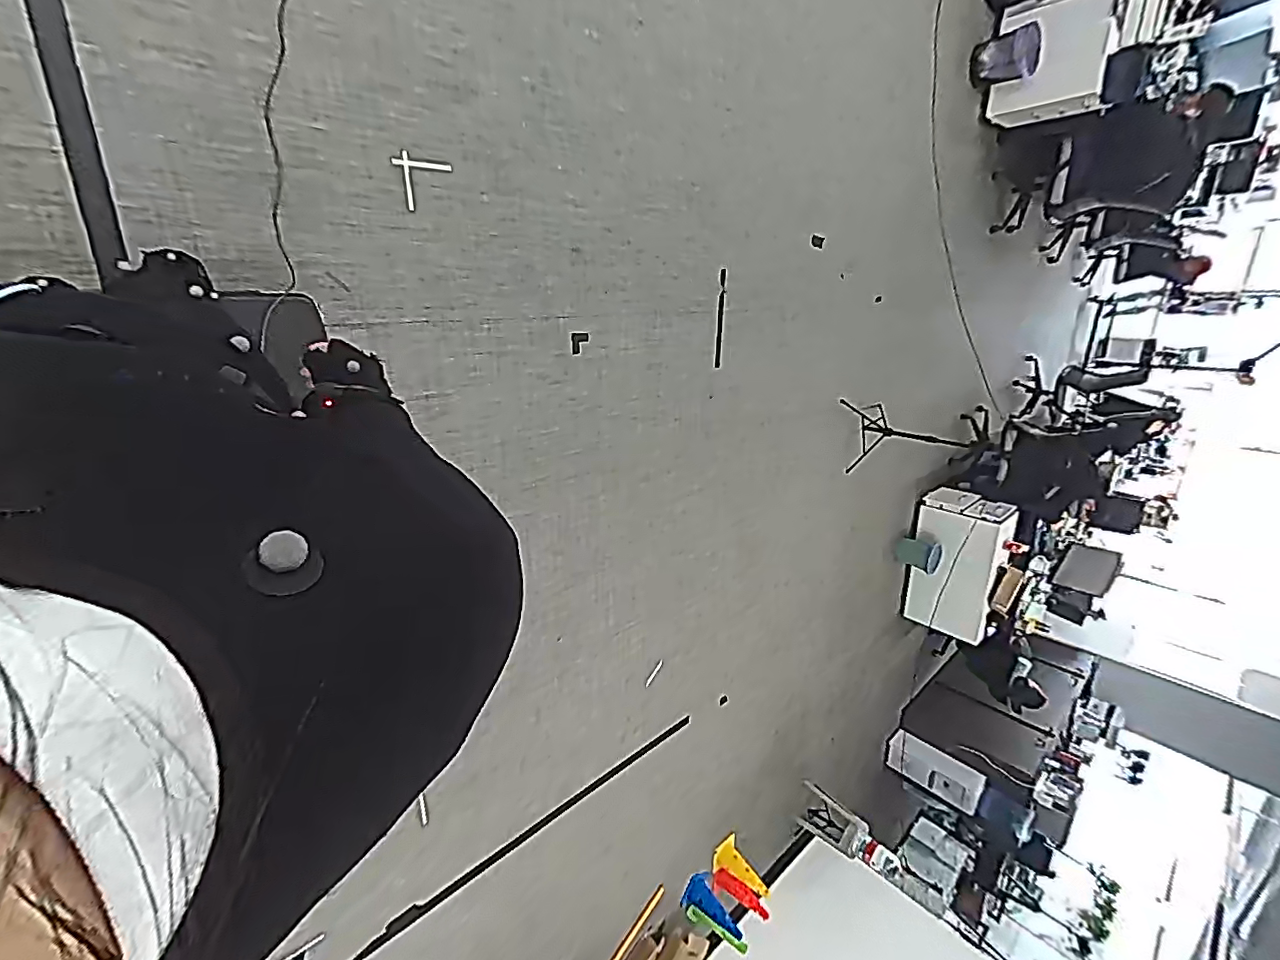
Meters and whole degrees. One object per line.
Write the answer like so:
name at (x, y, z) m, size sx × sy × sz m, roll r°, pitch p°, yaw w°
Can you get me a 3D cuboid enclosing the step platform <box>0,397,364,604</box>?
step platform at (-0.973, 0.010, 1.153) m, size 0.684 × 0.204 × 0.286 m, roll -16°, pitch 114°, yaw -38°
